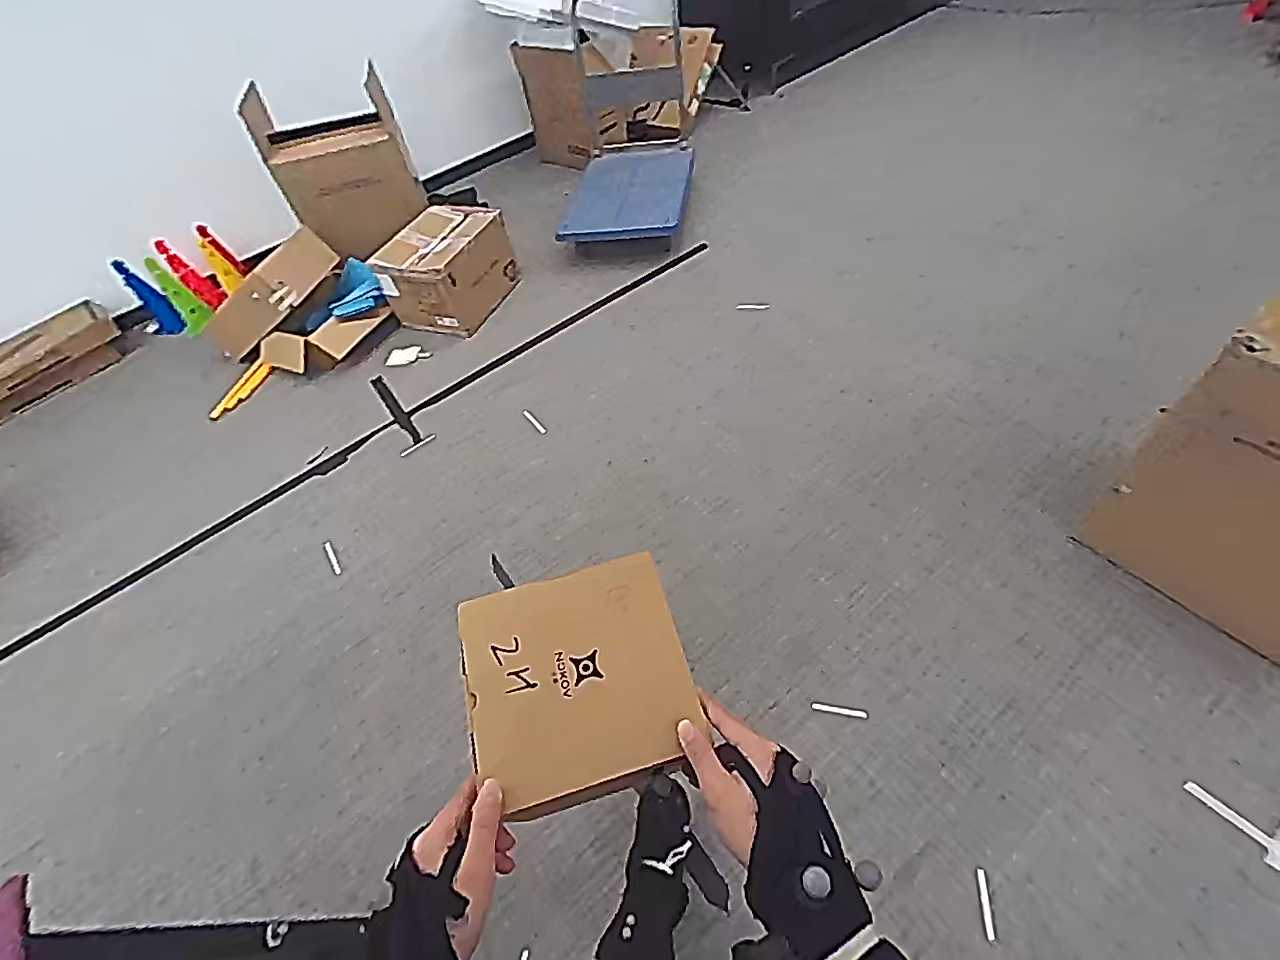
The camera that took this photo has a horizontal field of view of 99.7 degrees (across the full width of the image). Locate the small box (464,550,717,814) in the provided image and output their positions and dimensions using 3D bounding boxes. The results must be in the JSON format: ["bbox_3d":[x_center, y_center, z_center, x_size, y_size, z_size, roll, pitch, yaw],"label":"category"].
[{"bbox_3d":[-0.044,0.189,0.497,0.179,0.176,0.168,-15,58,-6],"label":"small box"}]
